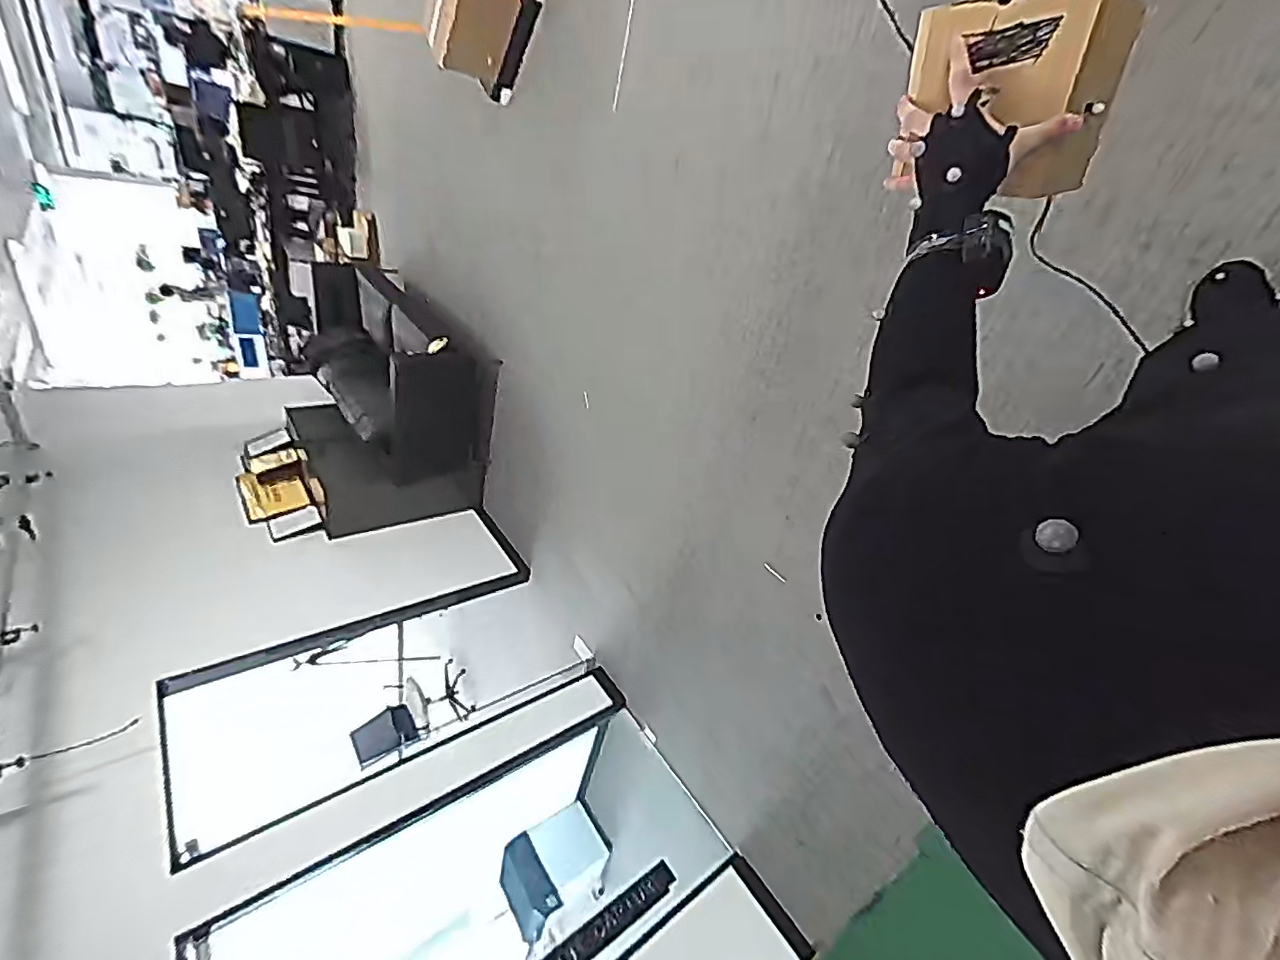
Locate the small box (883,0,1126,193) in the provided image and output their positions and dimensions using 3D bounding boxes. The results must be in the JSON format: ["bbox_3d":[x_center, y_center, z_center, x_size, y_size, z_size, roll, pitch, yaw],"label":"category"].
[{"bbox_3d":[0.416,-0.441,0.625,0.168,0.176,0.179,30,135,40],"label":"small box"}]
